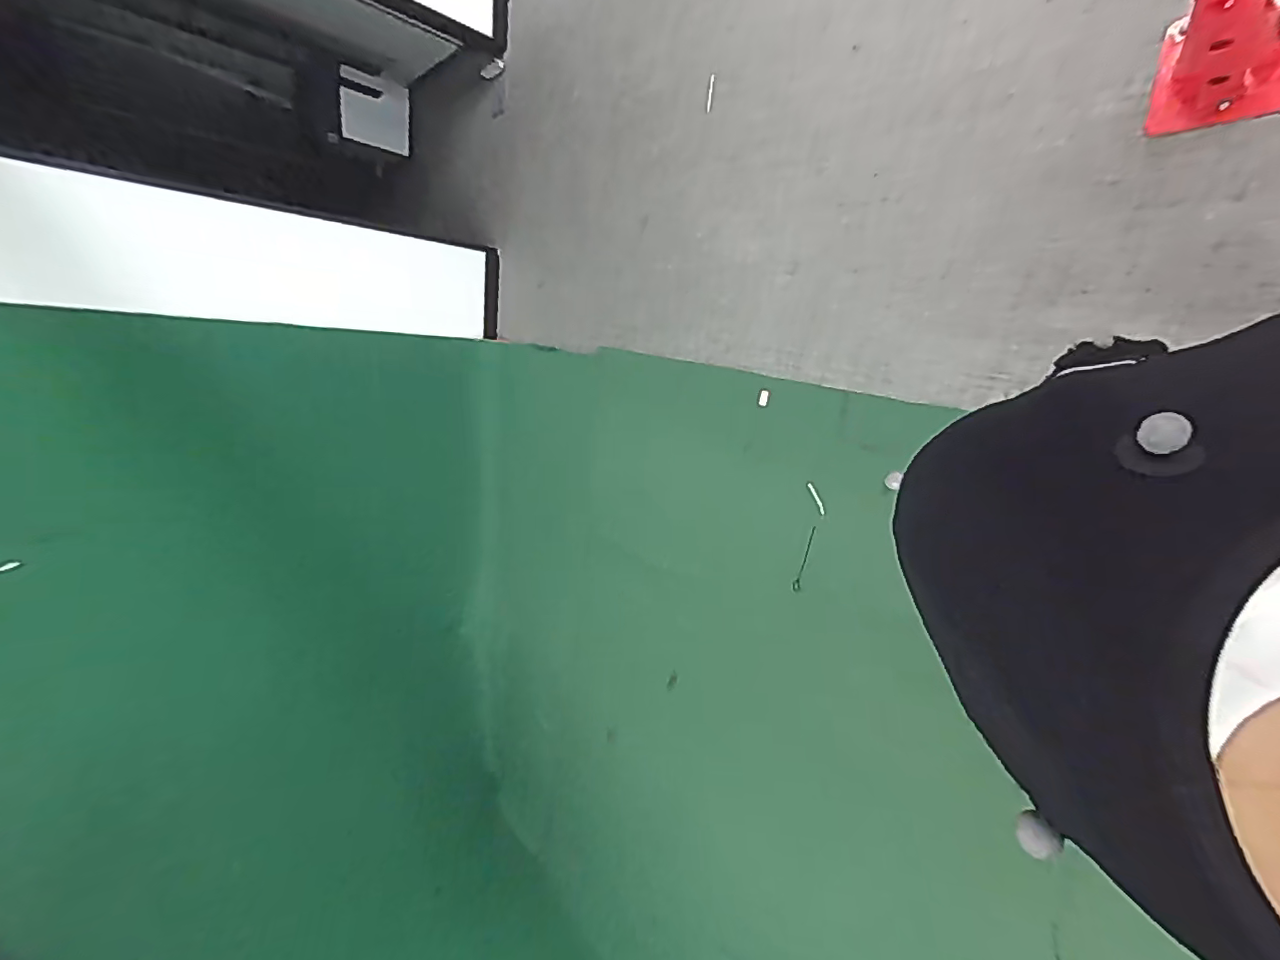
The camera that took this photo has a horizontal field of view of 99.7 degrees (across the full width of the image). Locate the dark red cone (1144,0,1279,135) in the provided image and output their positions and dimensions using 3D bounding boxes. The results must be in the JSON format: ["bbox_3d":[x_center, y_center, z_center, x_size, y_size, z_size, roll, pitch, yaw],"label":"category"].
[{"bbox_3d":[0.921,-0.718,0.846,0.202,0.394,0.201,15,107,46],"label":"dark red cone"}]
